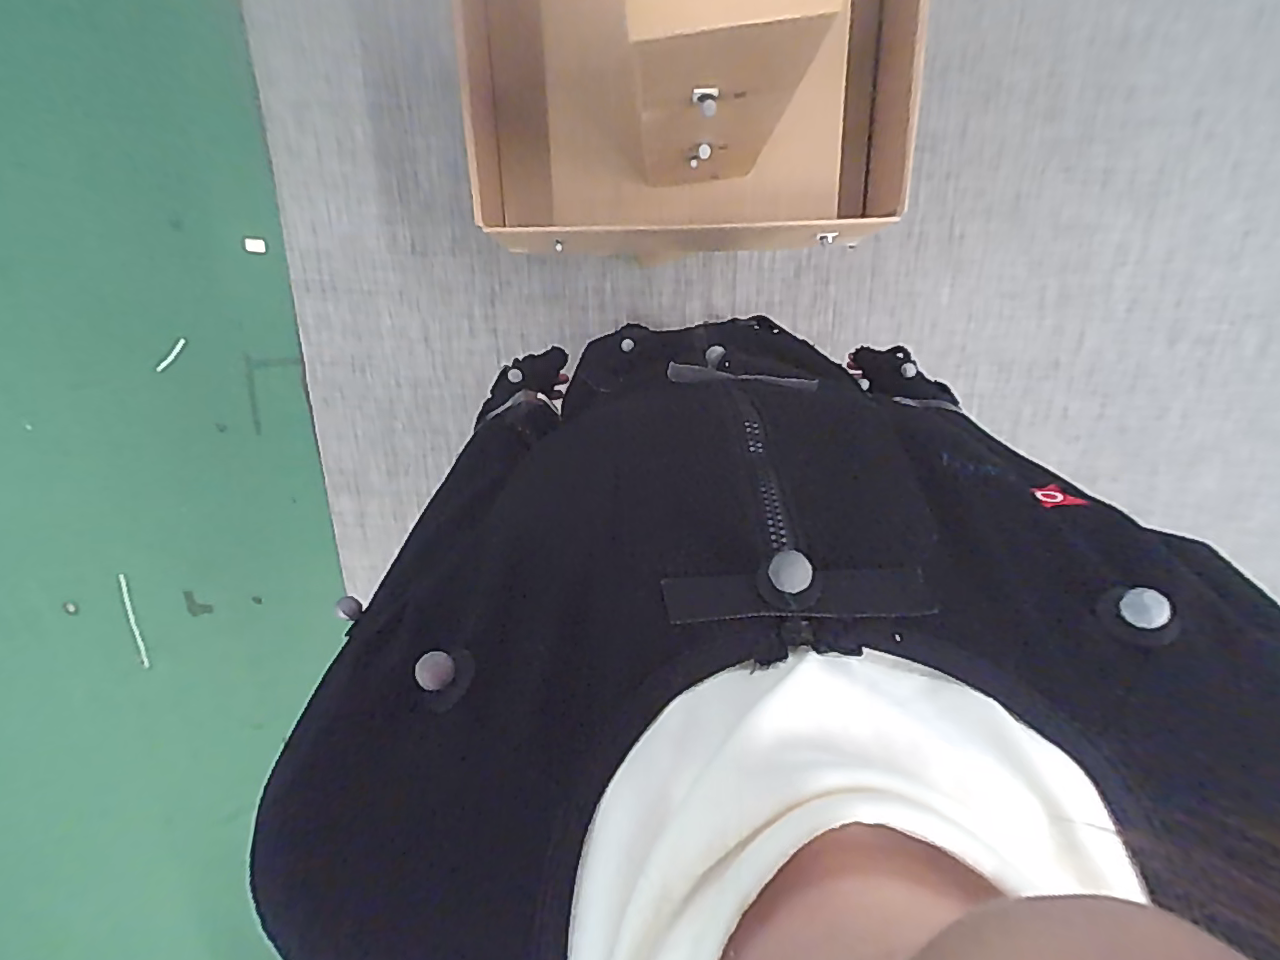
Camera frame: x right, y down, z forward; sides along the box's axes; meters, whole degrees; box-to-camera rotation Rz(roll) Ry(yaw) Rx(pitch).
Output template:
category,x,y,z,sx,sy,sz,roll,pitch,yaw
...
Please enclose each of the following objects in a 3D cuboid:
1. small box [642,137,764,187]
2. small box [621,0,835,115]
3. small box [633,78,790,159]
category,x,y,z,sx,sy,sz,roll,pitch,yaw
small box,0.082,-0.551,0.783,0.168,0.176,0.179,-5,105,6
small box,0.065,-0.456,0.472,0.168,0.176,0.179,-5,107,5
small box,0.072,-0.501,0.627,0.168,0.176,0.179,-4,106,4
